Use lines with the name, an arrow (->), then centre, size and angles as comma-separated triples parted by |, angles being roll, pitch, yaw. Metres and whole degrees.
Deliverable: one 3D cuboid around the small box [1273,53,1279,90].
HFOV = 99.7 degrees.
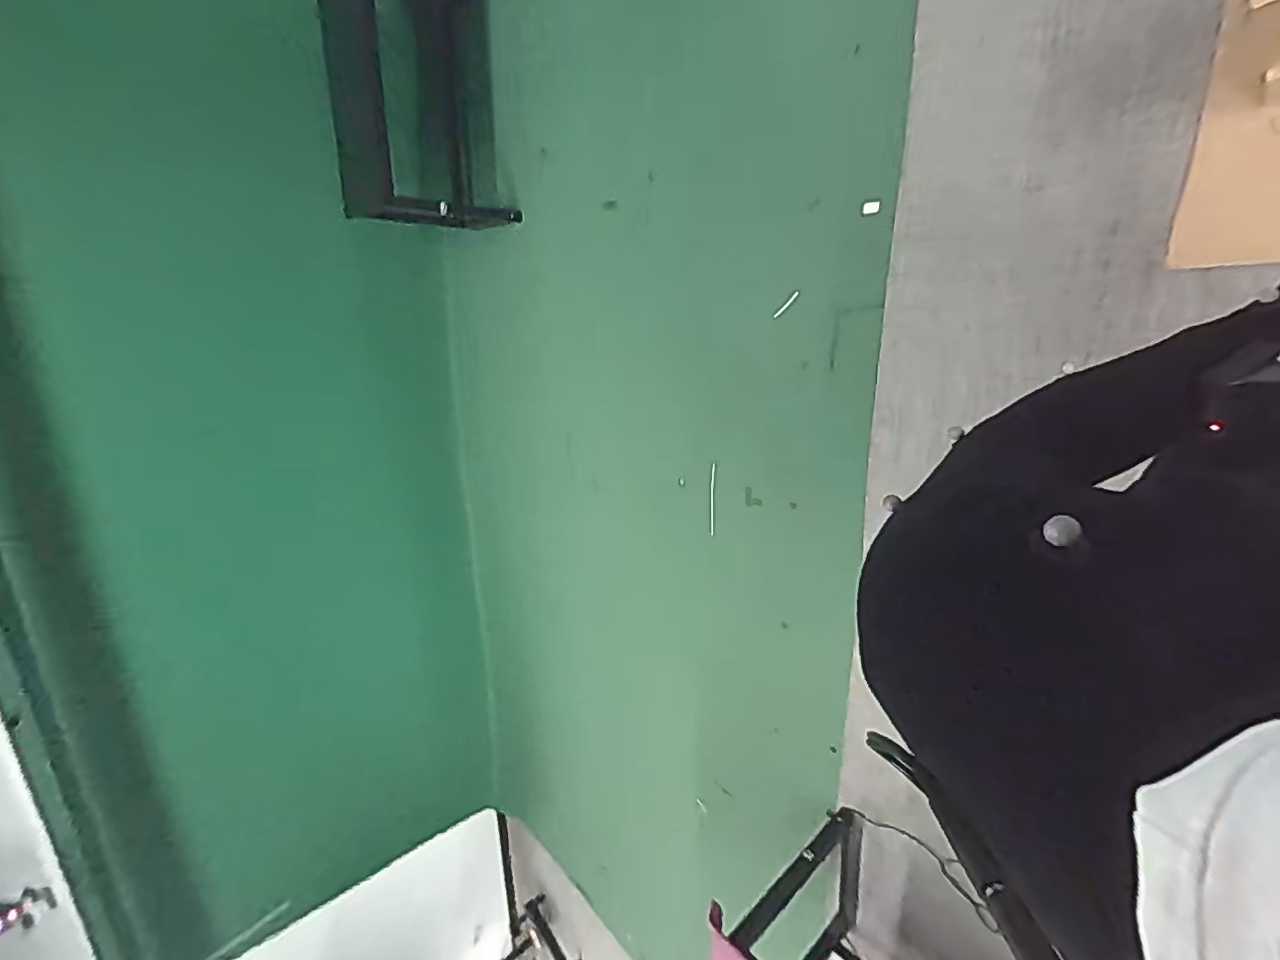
small box -> 1.148, -0.765, 0.864 | 0.168, 0.176, 0.179 | 6, 105, 49
